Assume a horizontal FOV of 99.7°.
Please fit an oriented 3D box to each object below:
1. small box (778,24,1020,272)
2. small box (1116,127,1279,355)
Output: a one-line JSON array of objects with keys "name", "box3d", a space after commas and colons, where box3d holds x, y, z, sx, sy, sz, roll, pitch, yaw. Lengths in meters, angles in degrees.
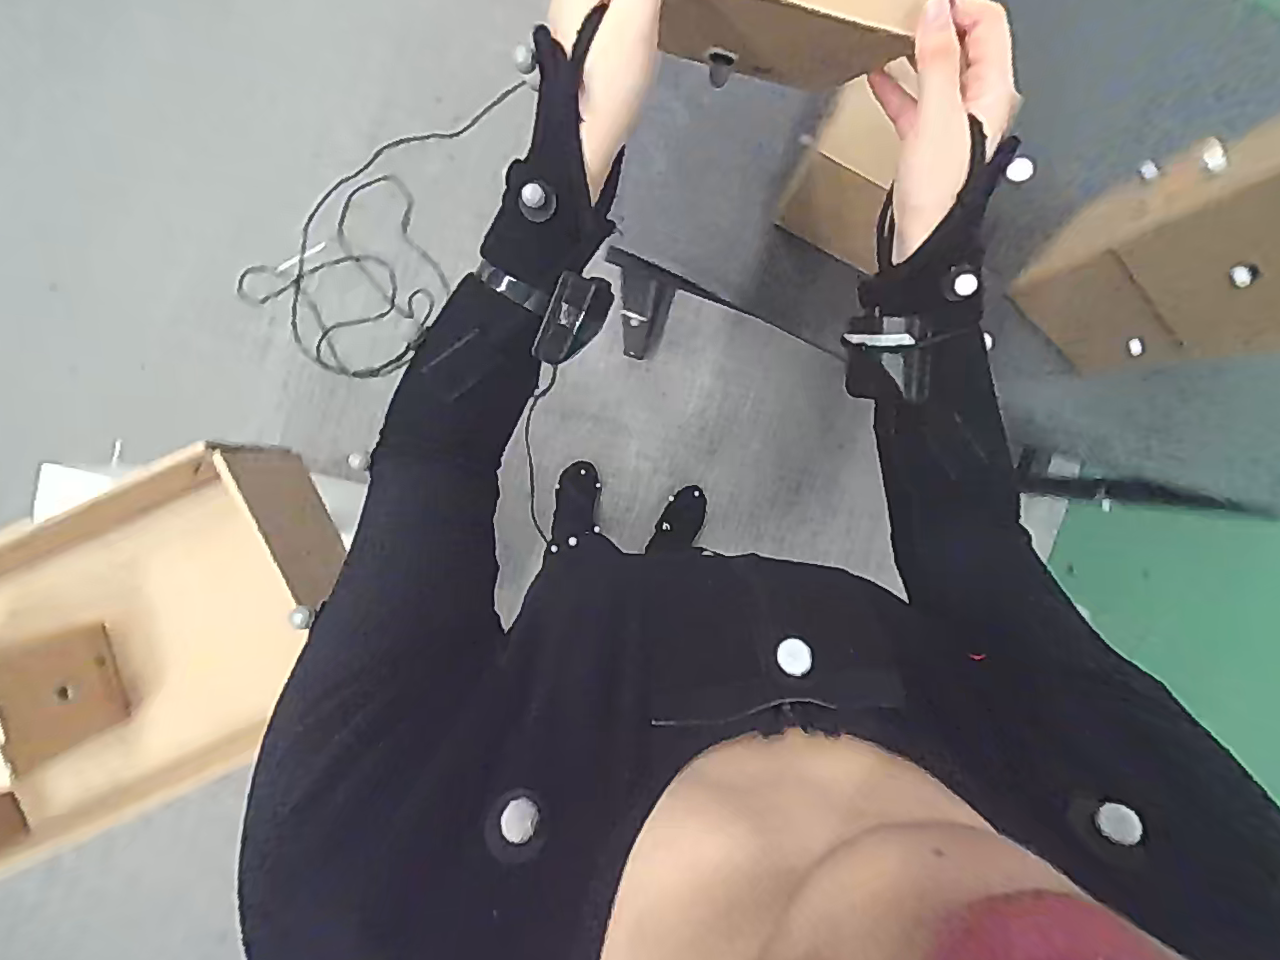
[{"name": "small box", "box3d": [0.299, -0.383, 0.665, 0.179, 0.176, 0.168, 28, 90, -1]}, {"name": "small box", "box3d": [0.629, -0.237, 0.512, 0.168, 0.176, 0.179, -39, 92, -1]}]
